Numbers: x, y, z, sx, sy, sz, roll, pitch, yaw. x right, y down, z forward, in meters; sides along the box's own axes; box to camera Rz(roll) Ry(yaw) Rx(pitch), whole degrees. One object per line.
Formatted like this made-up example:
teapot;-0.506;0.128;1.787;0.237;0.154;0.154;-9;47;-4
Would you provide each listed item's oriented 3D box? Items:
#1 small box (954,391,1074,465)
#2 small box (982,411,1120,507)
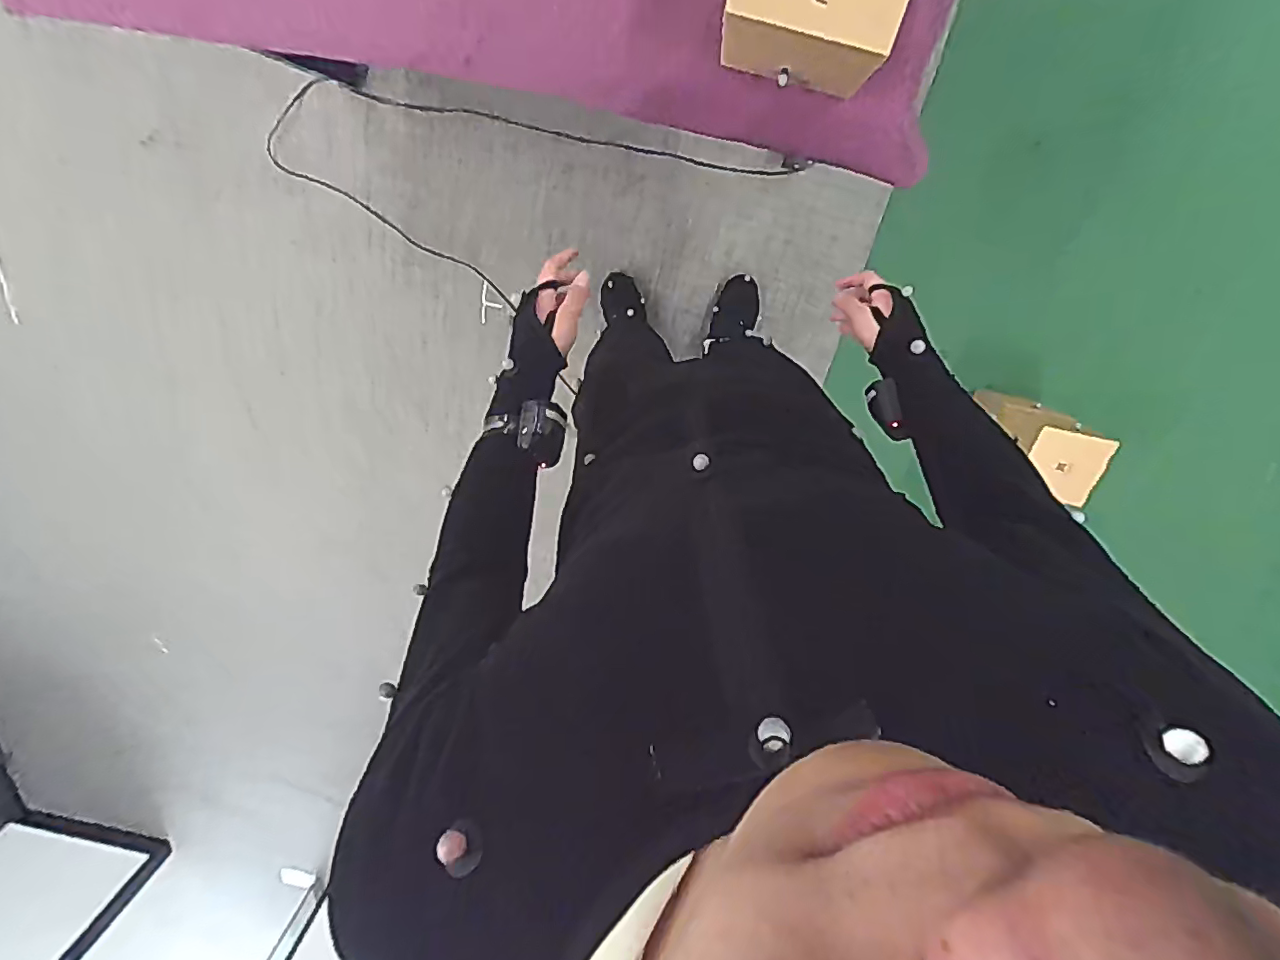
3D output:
small box;0.989;-0.127;1.447;0.179;0.176;0.168;13;115;2
small box;0.972;-0.058;1.302;0.179;0.176;0.168;12;114;0
